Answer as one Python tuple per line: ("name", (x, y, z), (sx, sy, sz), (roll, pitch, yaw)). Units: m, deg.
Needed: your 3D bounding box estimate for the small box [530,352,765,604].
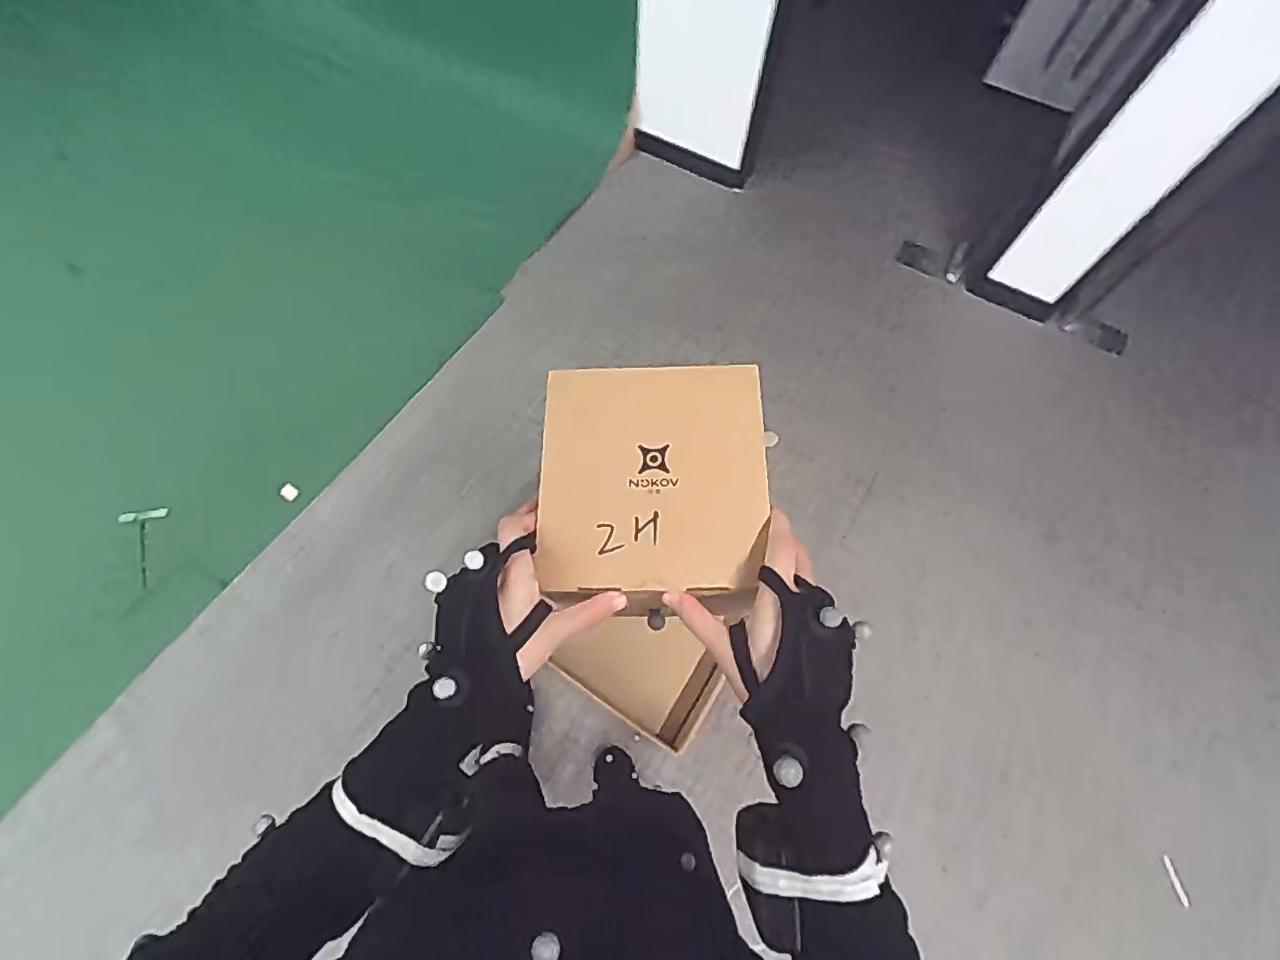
("small box", (0.011, 0.008, 0.474), (0.168, 0.176, 0.179), (-1, 71, 4))
